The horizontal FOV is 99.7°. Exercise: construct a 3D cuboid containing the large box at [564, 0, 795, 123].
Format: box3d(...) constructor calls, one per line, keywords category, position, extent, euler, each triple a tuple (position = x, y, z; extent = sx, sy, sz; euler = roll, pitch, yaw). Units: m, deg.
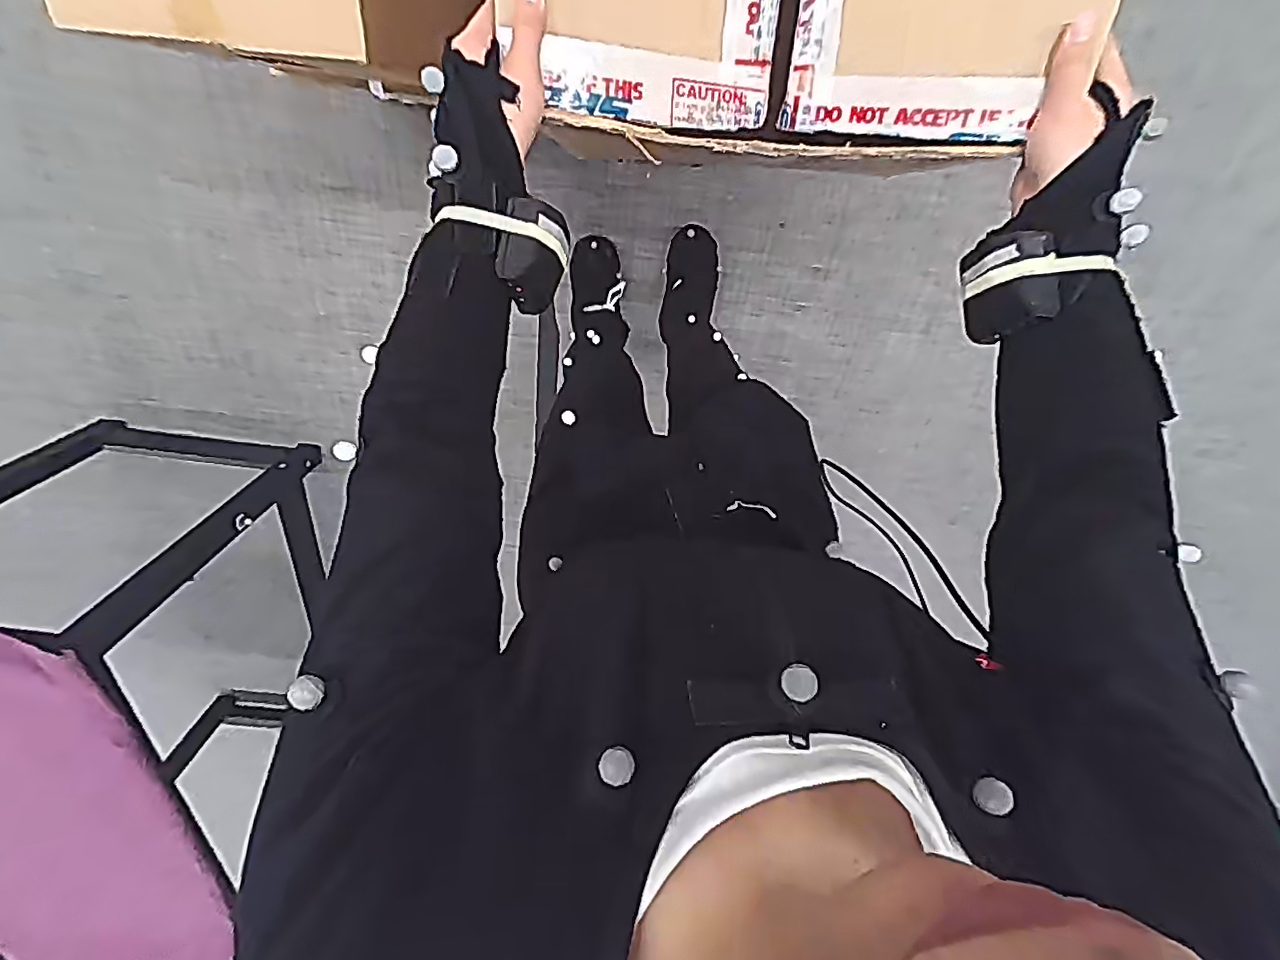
box3d(category="large box", position=(0.062, -0.792, 0.810), extent=(0.320, 0.320, 0.408), euler=(6, 122, 0))
